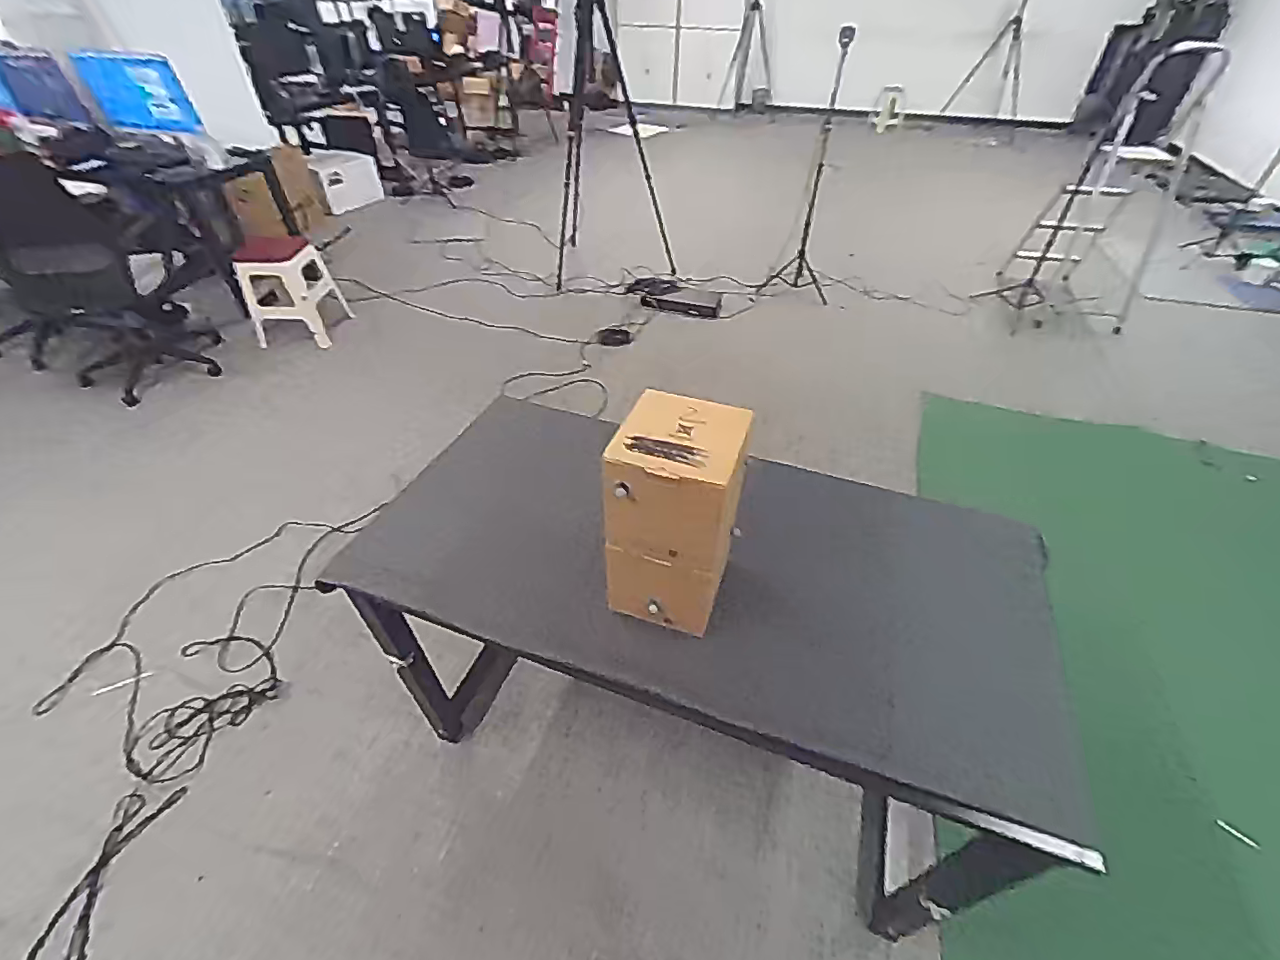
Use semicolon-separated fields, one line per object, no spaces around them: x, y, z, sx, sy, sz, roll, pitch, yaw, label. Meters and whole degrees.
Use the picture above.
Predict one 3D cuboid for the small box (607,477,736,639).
0.051;0.127;0.895;0.168;0.176;0.179;14;44;14;small box
